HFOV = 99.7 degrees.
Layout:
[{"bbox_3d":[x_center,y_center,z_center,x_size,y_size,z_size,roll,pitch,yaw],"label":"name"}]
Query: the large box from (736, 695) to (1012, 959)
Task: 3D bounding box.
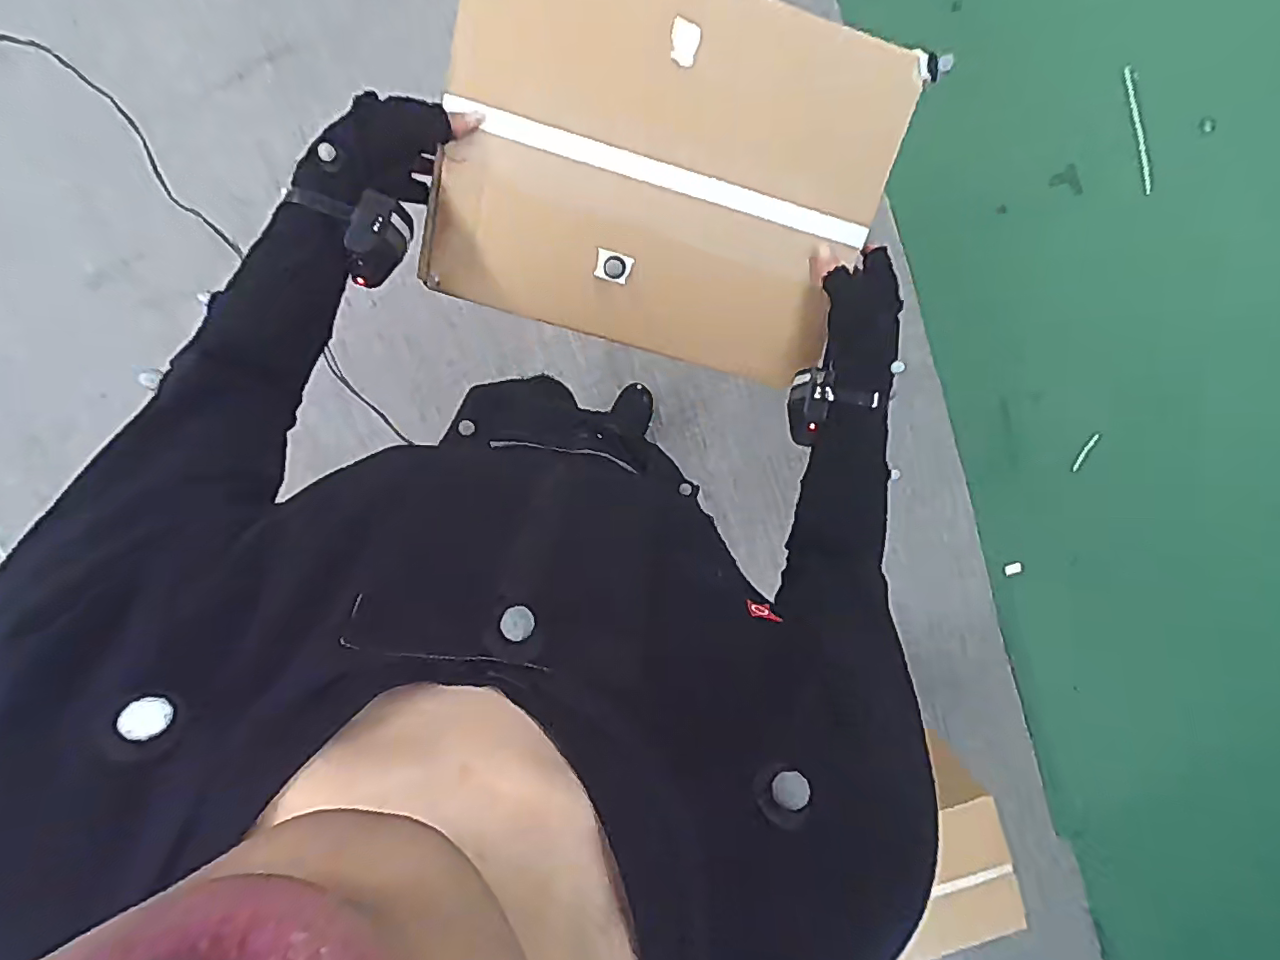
[{"bbox_3d":[0.459,0.721,1.128,0.408,0.320,0.320,-19,102,1],"label":"large box"}]
